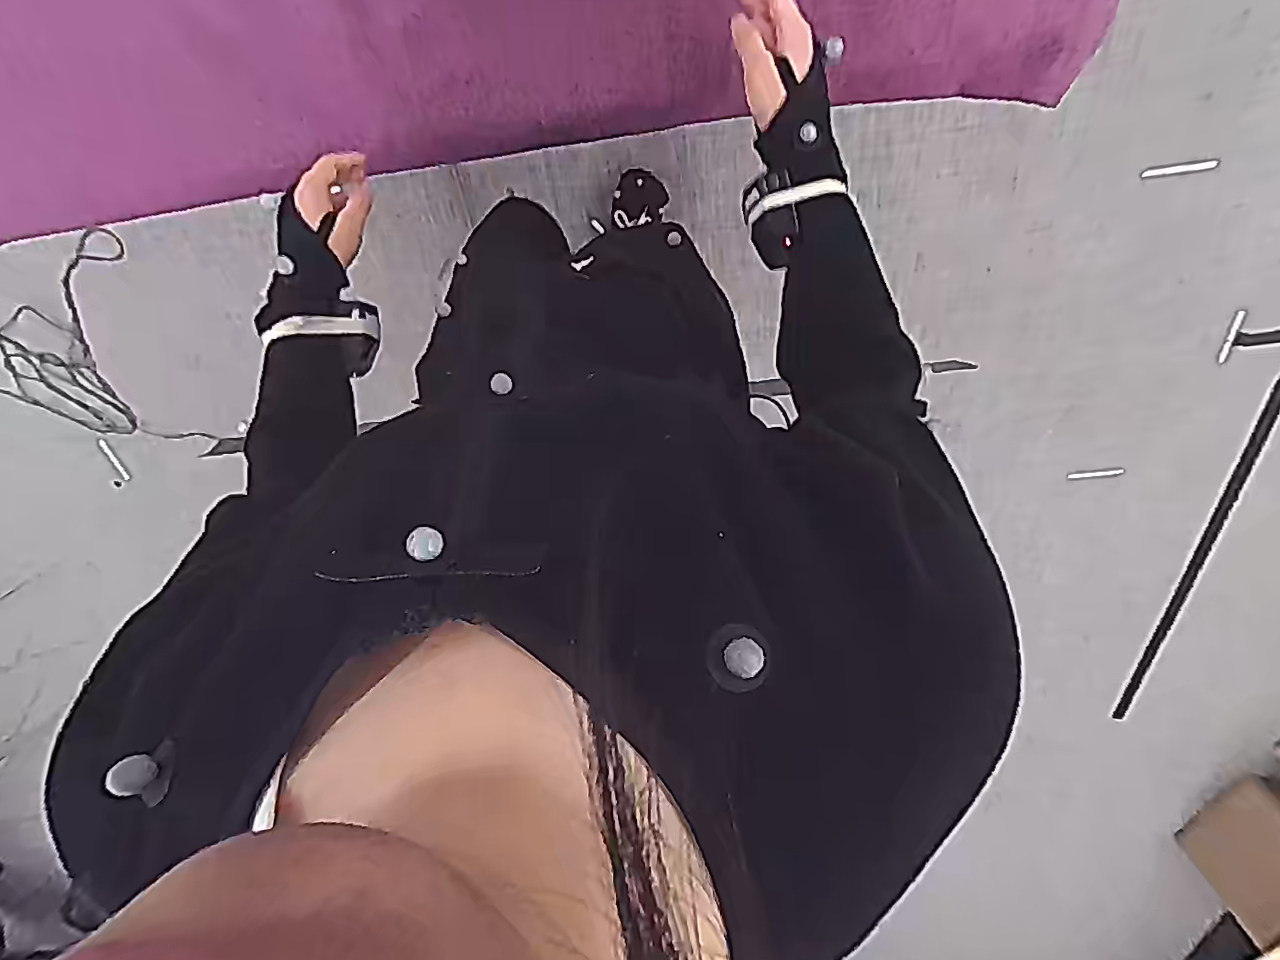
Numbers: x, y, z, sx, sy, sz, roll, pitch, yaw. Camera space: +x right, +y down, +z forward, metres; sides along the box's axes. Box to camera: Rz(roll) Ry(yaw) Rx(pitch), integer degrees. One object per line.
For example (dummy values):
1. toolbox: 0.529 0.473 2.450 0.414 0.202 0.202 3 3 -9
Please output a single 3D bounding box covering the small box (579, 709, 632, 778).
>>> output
1. small box: -0.133 1.053 2.166 0.168 0.176 0.179 -16 119 8
